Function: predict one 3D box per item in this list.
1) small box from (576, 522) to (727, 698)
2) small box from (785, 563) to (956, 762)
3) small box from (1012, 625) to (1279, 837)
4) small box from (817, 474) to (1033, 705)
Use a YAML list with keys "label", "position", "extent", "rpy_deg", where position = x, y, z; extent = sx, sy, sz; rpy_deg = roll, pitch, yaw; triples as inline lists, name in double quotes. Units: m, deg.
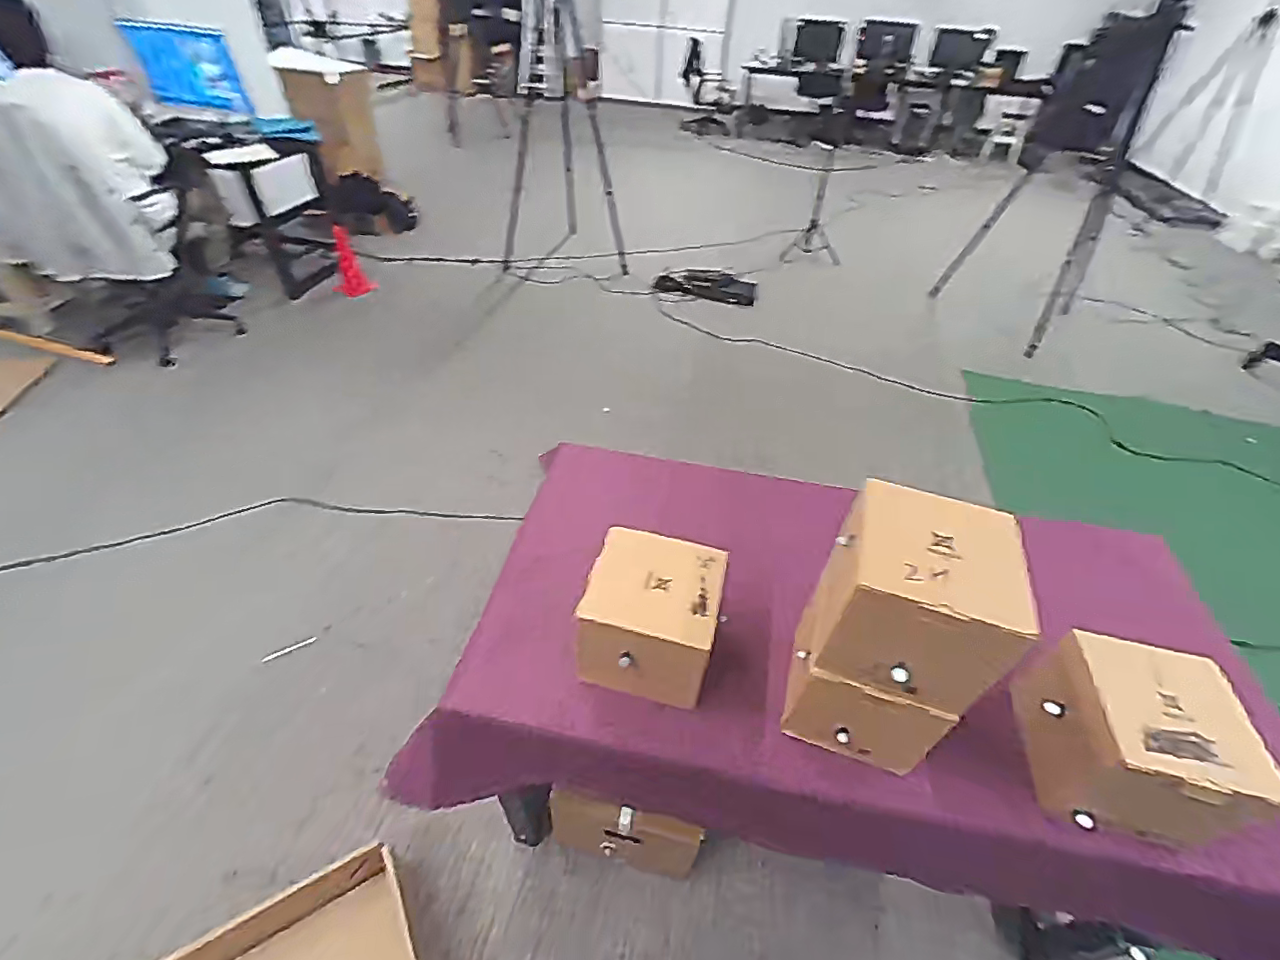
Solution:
- label: "small box"
  position: [0.019, 0.190, 0.785]
  extent: [0.179, 0.176, 0.168]
  rpy_deg: [12, 45, 10]
- label: "small box"
  position: [0.308, 0.250, 0.746]
  extent: [0.168, 0.176, 0.179]
  rpy_deg: [15, 46, 12]
- label: "small box"
  position: [0.616, 0.320, 0.688]
  extent: [0.168, 0.176, 0.179]
  rpy_deg: [12, 43, 9]
- label: "small box"
  position: [0.319, 0.126, 0.637]
  extent: [0.168, 0.176, 0.179]
  rpy_deg: [16, 45, 14]
